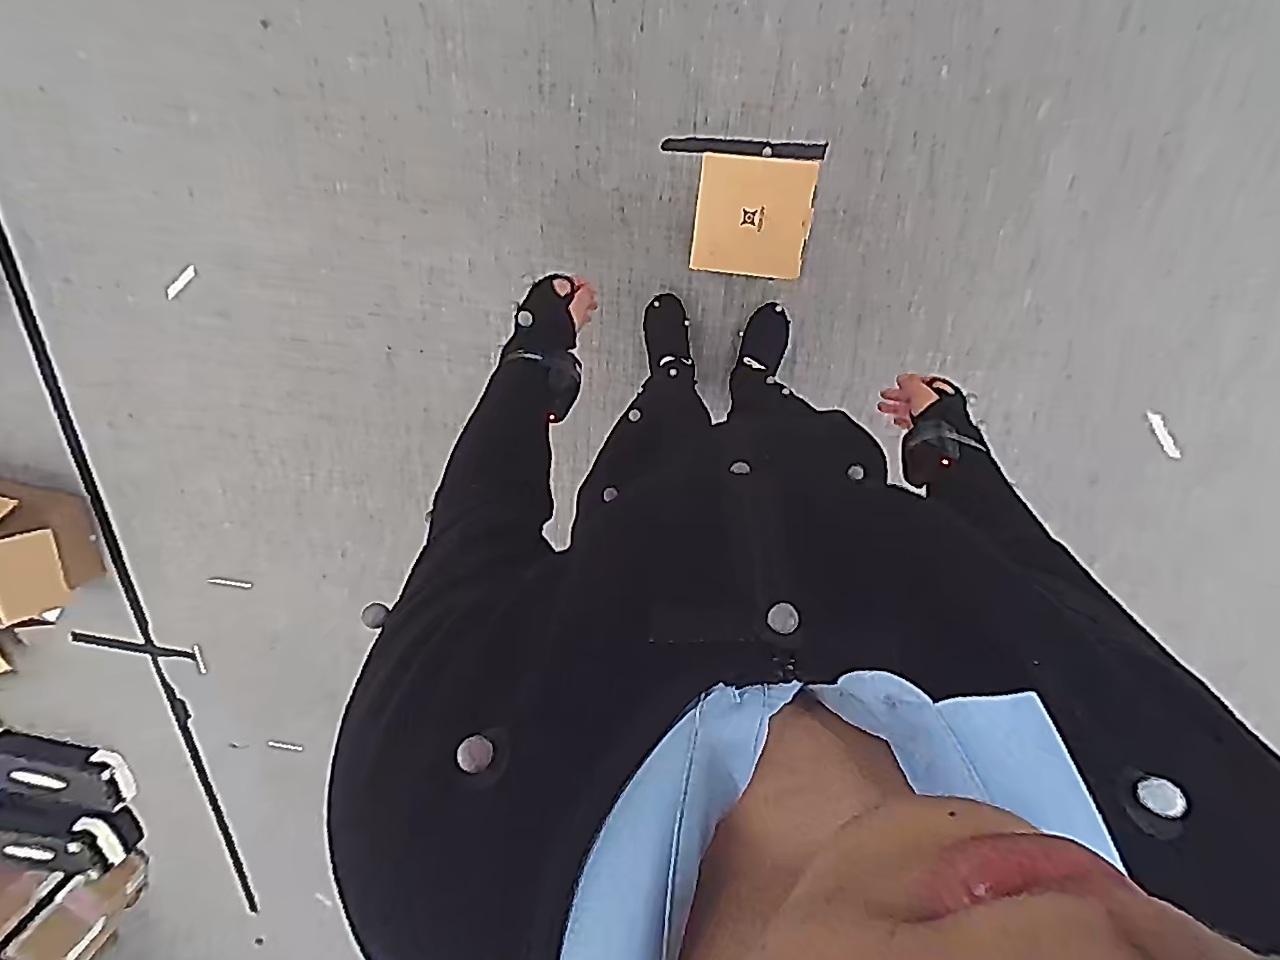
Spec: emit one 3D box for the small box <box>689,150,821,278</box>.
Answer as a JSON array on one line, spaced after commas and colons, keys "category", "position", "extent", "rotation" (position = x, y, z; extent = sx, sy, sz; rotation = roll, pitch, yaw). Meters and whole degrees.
[{"category": "small box", "position": [0.180, -0.434, 0.897], "extent": [0.179, 0.176, 0.168], "rotation": [7, 114, 4]}]
